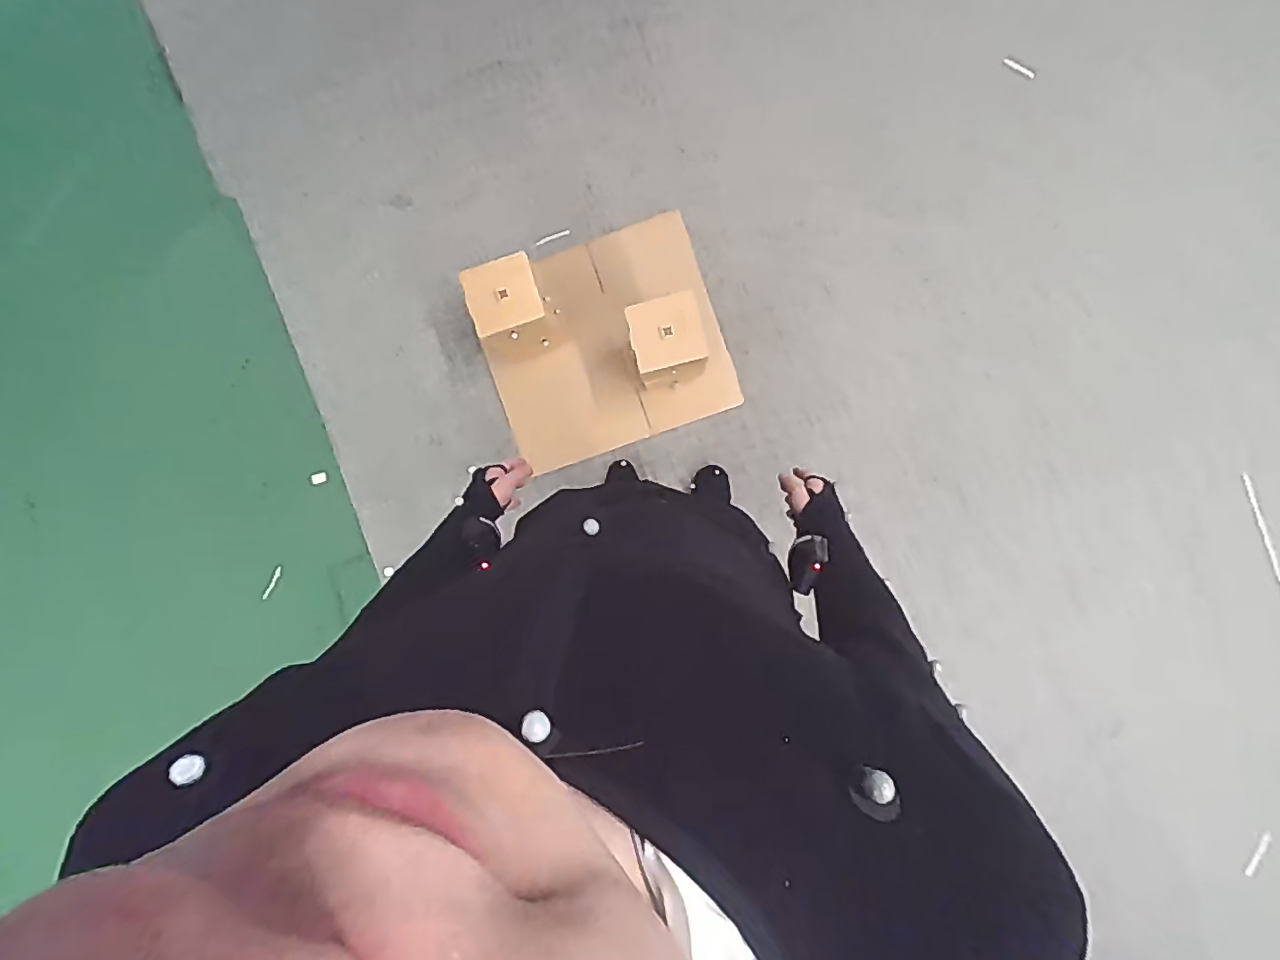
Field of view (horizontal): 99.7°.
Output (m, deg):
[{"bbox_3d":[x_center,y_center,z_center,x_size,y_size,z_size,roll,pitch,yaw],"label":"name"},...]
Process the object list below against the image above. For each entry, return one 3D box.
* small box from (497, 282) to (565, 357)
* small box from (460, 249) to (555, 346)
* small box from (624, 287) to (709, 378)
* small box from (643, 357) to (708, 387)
[{"bbox_3d":[-0.322,-0.464,1.537,0.179,0.176,0.168,-18,92,4],"label":"small box"},{"bbox_3d":[-0.325,-0.456,1.376,0.179,0.176,0.168,-18,93,4],"label":"small box"},{"bbox_3d":[0.070,-0.363,1.362,0.179,0.176,0.168,-14,93,4],"label":"small box"},{"bbox_3d":[0.080,-0.369,1.525,0.179,0.176,0.168,-16,92,4],"label":"small box"}]
